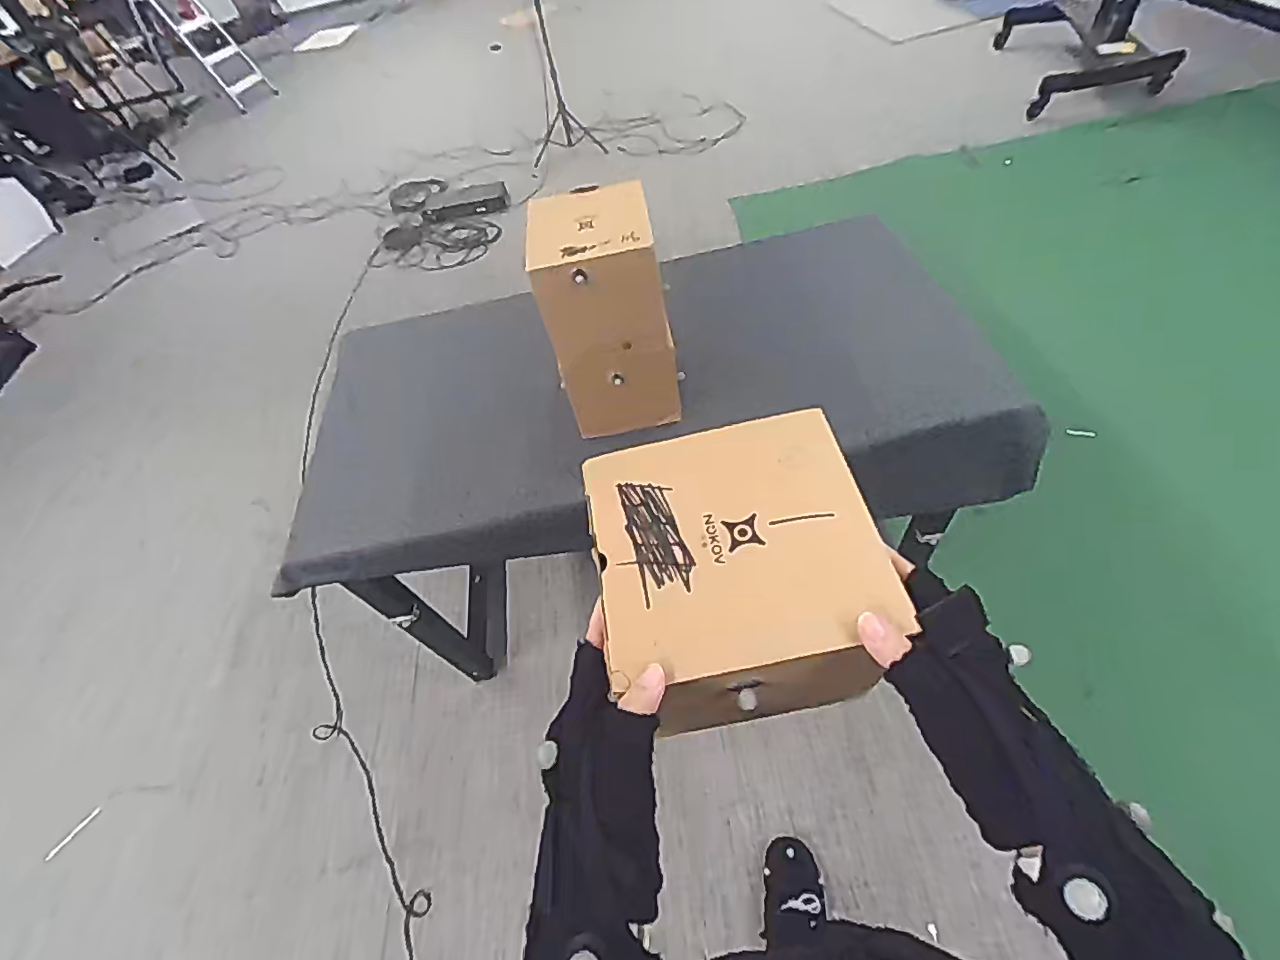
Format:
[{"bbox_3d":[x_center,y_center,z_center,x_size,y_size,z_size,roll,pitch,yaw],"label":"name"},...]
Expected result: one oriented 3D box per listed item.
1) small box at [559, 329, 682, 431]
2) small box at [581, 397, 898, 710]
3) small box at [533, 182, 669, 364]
[{"bbox_3d":[-0.032,-0.203,0.919,0.179,0.176,0.168,-10,54,2],"label":"small box"},{"bbox_3d":[0.064,0.067,0.419,0.179,0.176,0.168,-12,57,2],"label":"small box"},{"bbox_3d":[-0.055,-0.298,0.791,0.168,0.176,0.179,-11,54,1],"label":"small box"}]
